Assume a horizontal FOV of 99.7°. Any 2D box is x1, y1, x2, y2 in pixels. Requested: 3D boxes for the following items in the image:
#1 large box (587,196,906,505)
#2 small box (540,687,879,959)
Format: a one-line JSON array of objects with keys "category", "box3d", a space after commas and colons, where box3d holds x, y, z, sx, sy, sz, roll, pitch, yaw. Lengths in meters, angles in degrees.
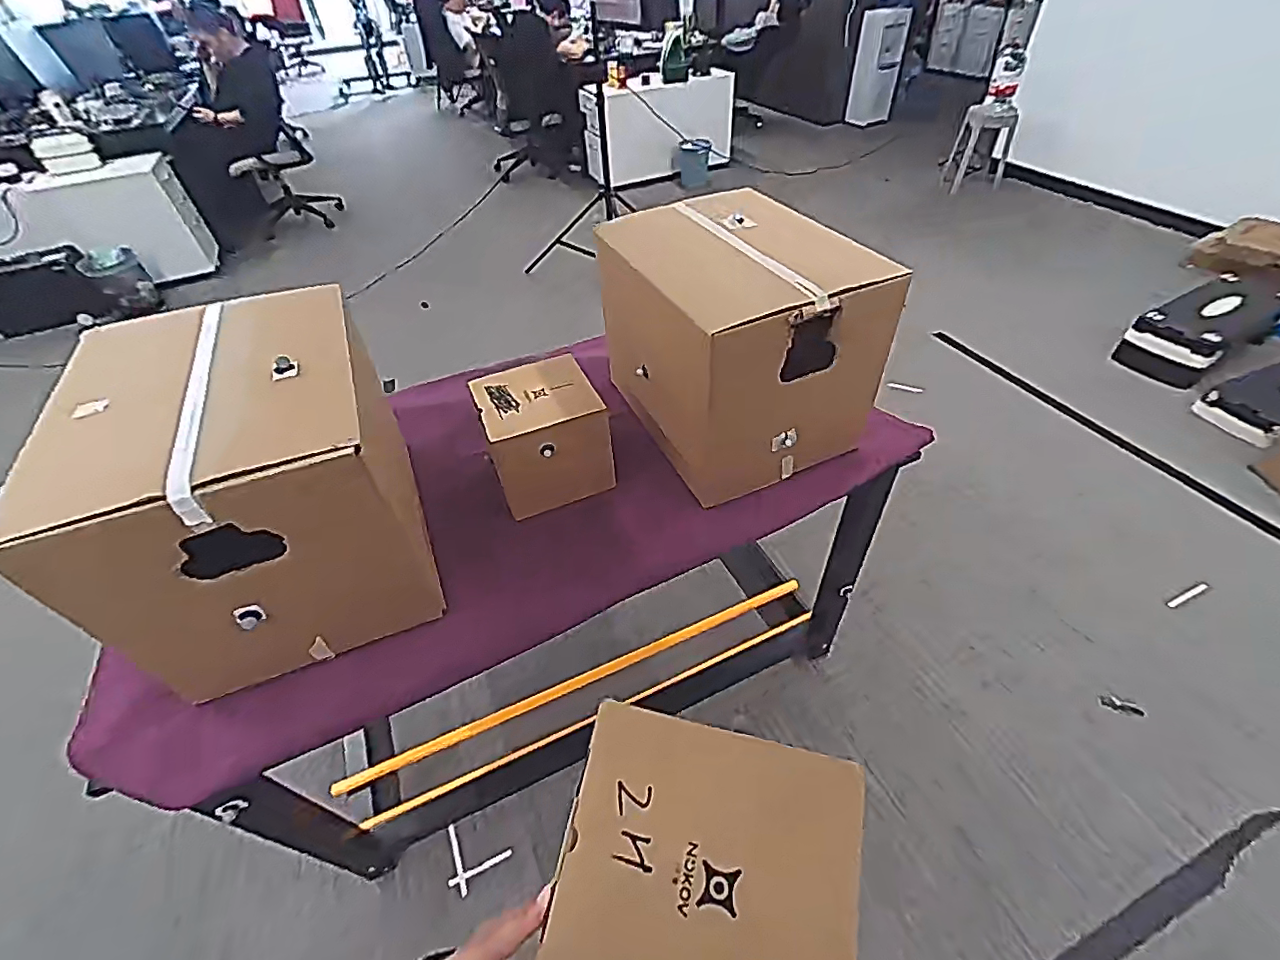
[{"category": "large box", "box3d": [0.145, -0.231, 0.907, 0.320, 0.320, 0.408, -20, 46, -16]}, {"category": "small box", "box3d": [0.049, 0.261, 0.384, 0.179, 0.176, 0.168, 11, 63, 10]}]
